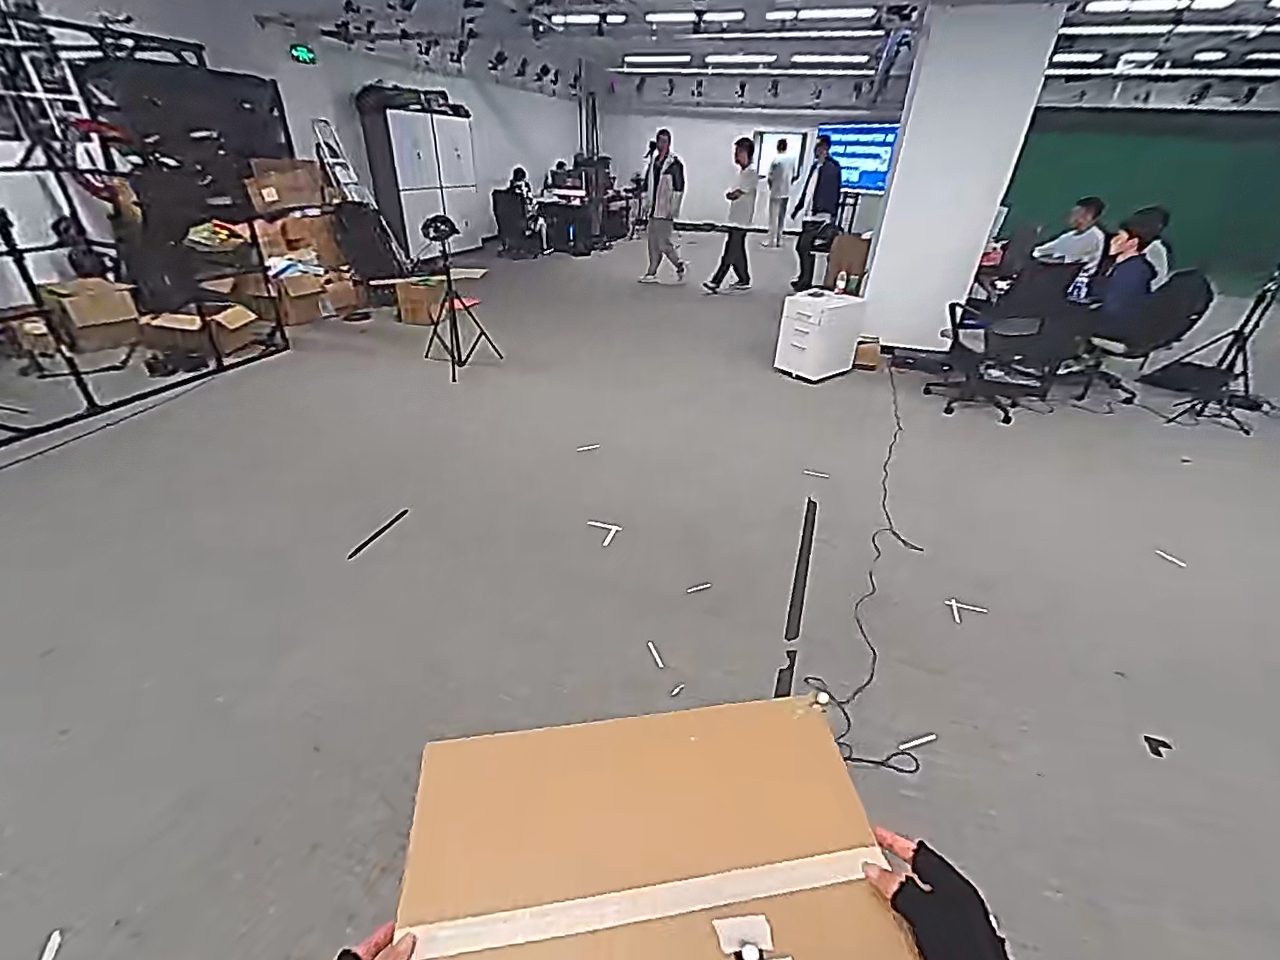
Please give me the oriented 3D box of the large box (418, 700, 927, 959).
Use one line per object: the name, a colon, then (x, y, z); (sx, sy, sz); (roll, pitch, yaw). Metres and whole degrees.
large box: (0.015, 0.465, 0.544); (0.408, 0.320, 0.320); (-3, 40, -7)
